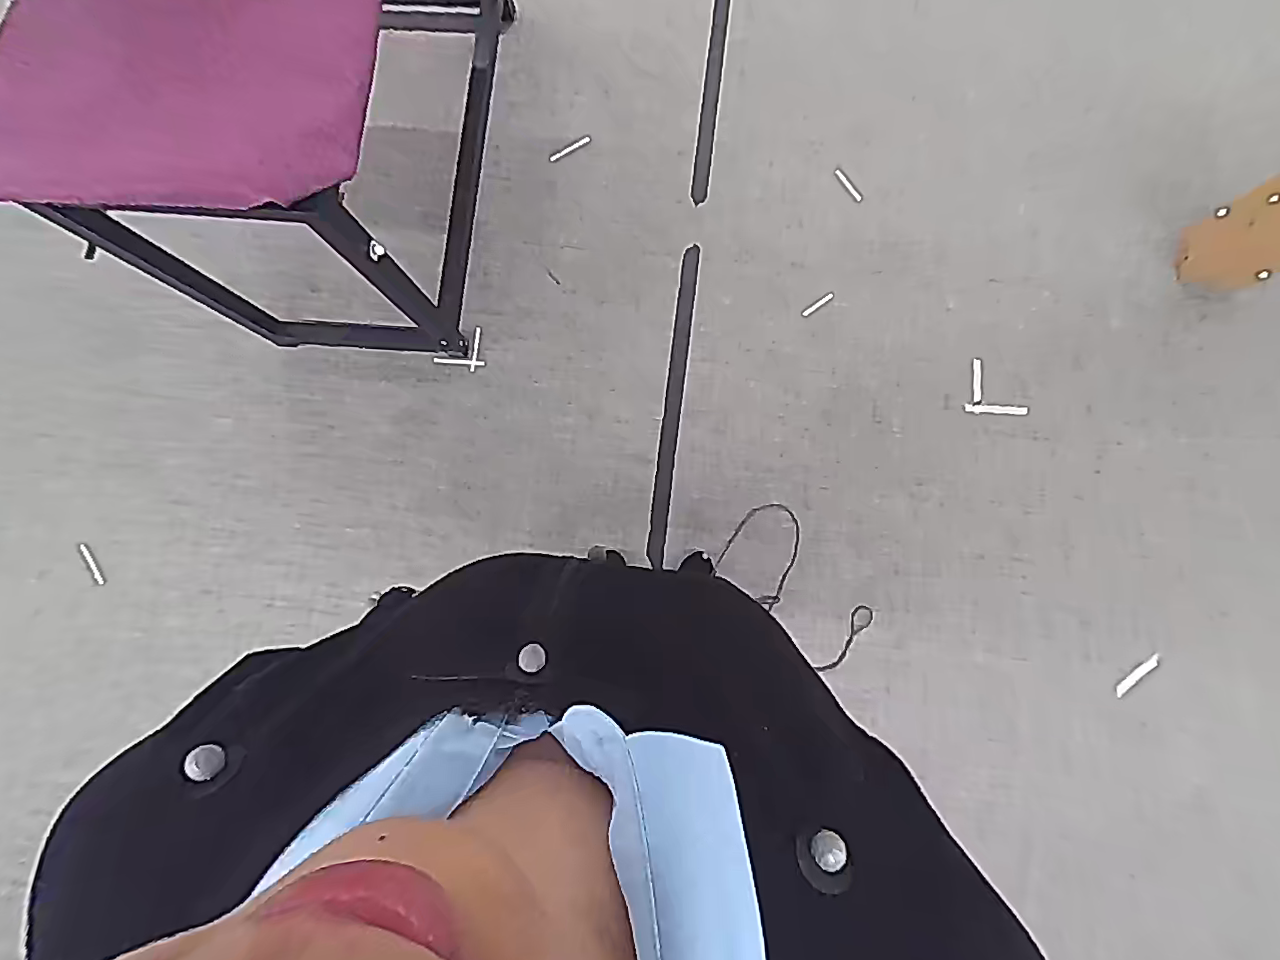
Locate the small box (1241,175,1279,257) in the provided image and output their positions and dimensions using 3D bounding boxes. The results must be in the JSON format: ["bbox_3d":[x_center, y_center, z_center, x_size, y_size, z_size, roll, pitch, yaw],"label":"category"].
[{"bbox_3d":[1.662,-0.671,1.337,0.179,0.176,0.168,13,83,3],"label":"small box"}]
